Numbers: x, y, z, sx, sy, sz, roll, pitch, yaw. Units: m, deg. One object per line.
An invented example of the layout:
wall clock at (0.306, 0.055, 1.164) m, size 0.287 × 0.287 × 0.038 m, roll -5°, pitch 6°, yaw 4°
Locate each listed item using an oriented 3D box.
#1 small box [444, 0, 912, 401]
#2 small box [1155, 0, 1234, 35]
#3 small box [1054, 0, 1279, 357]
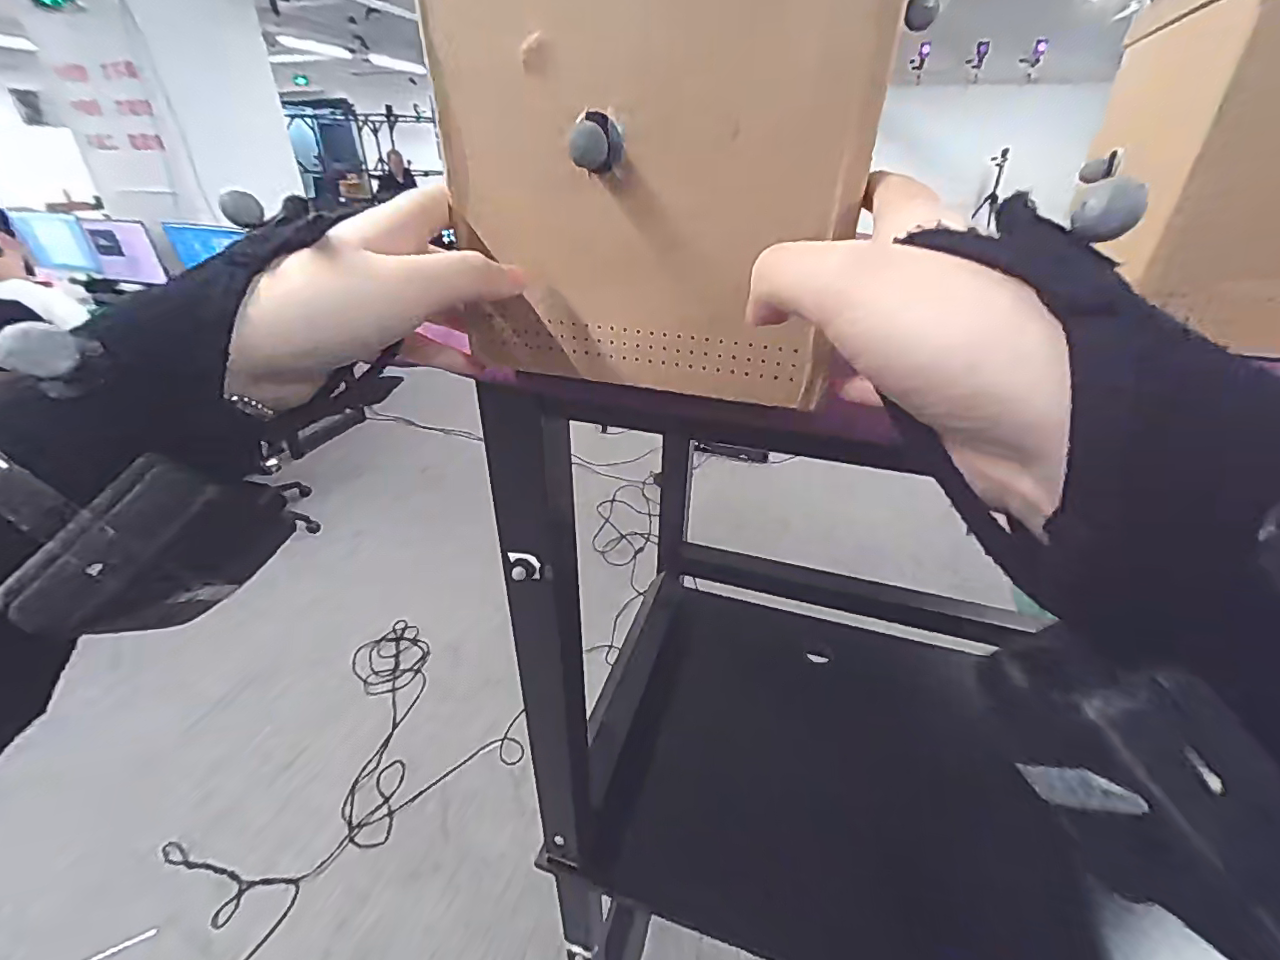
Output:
small box at (0.026, -0.151, 0.278) m, size 0.179 × 0.176 × 0.168 m, roll 10°, pitch 34°, yaw 15°
small box at (0.393, -0.316, 0.245) m, size 0.179 × 0.176 × 0.168 m, roll 12°, pitch 32°, yaw 16°
small box at (0.387, -0.171, 0.323) m, size 0.179 × 0.176 × 0.168 m, roll 12°, pitch 31°, yaw 16°
